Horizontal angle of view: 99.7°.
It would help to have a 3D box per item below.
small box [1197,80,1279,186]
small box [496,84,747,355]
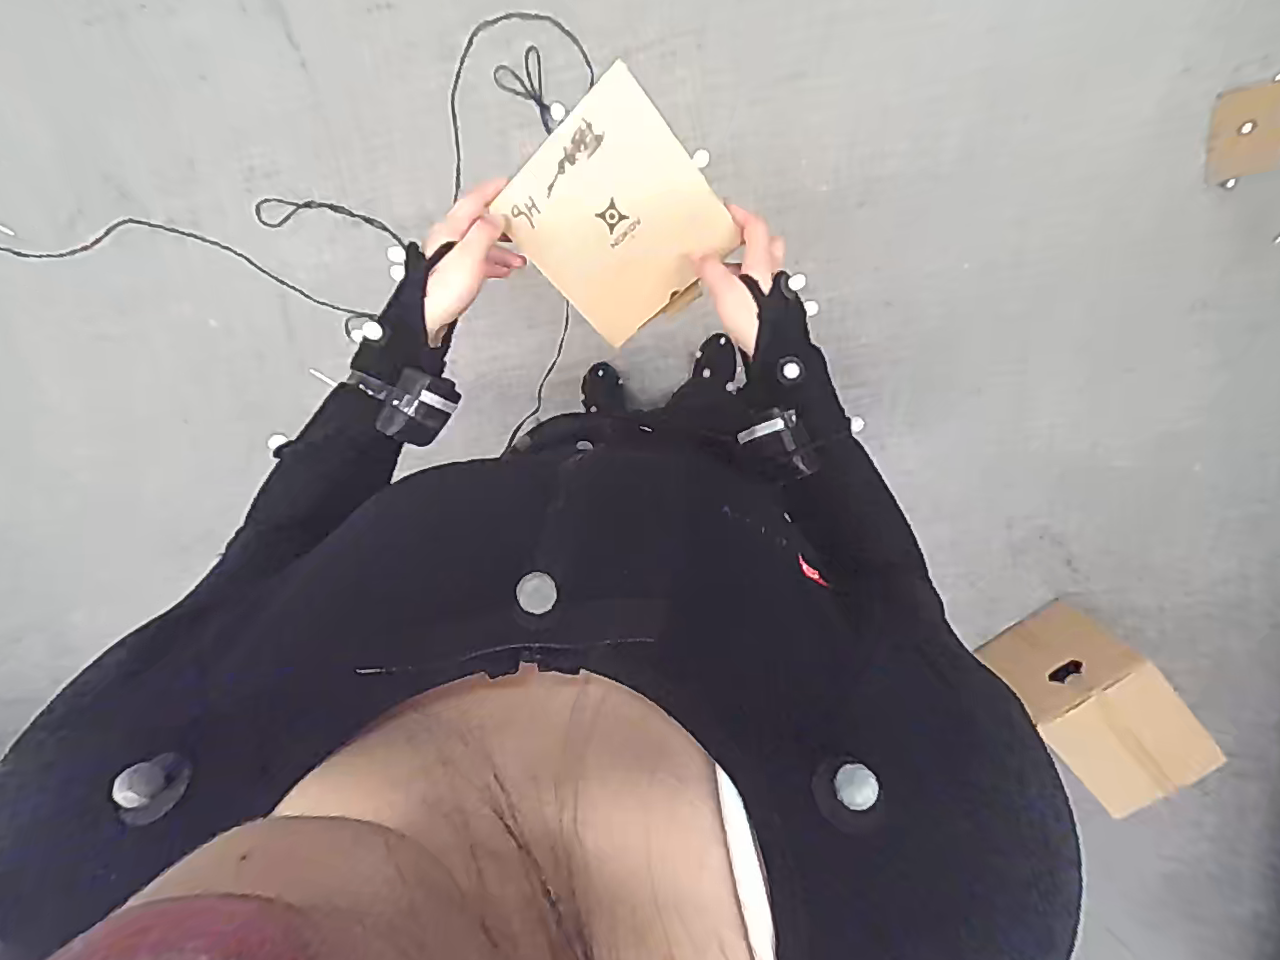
[{"bbox_3d":[1.377,-0.756,1.173,0.168,0.176,0.179,-9,107,4],"label":"small box"},{"bbox_3d":[-0.013,-0.270,0.558,0.168,0.176,0.179,-35,119,23],"label":"small box"}]
